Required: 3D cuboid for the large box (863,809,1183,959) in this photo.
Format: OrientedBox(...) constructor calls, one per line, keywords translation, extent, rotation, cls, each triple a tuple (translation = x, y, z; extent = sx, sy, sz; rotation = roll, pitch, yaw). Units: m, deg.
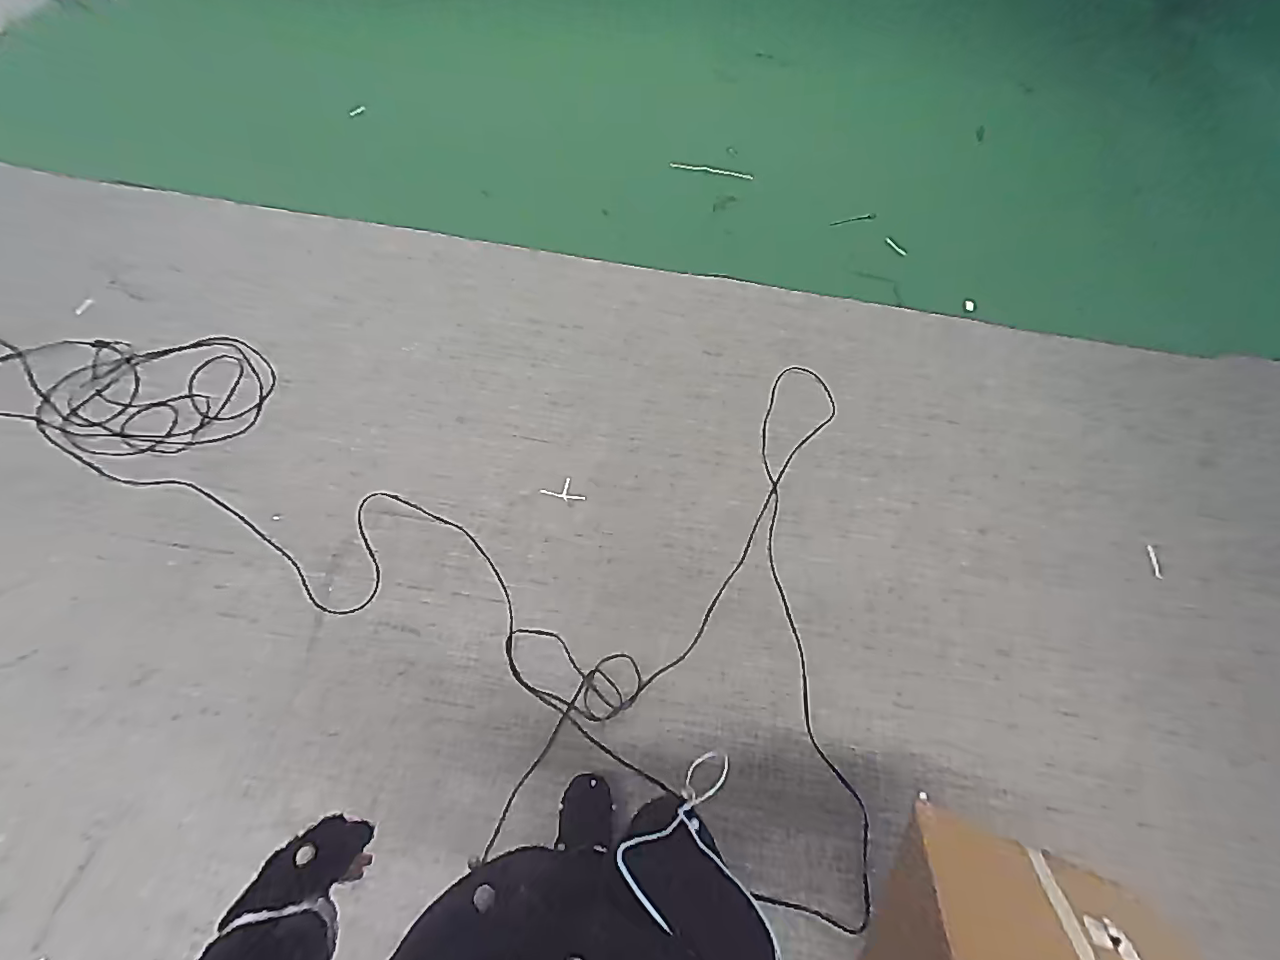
OrientedBox(translation=(0.460, 0.702, 0.625), extent=(0.320, 0.408, 0.320), rotation=(17, 98, 18), cls="large box")
